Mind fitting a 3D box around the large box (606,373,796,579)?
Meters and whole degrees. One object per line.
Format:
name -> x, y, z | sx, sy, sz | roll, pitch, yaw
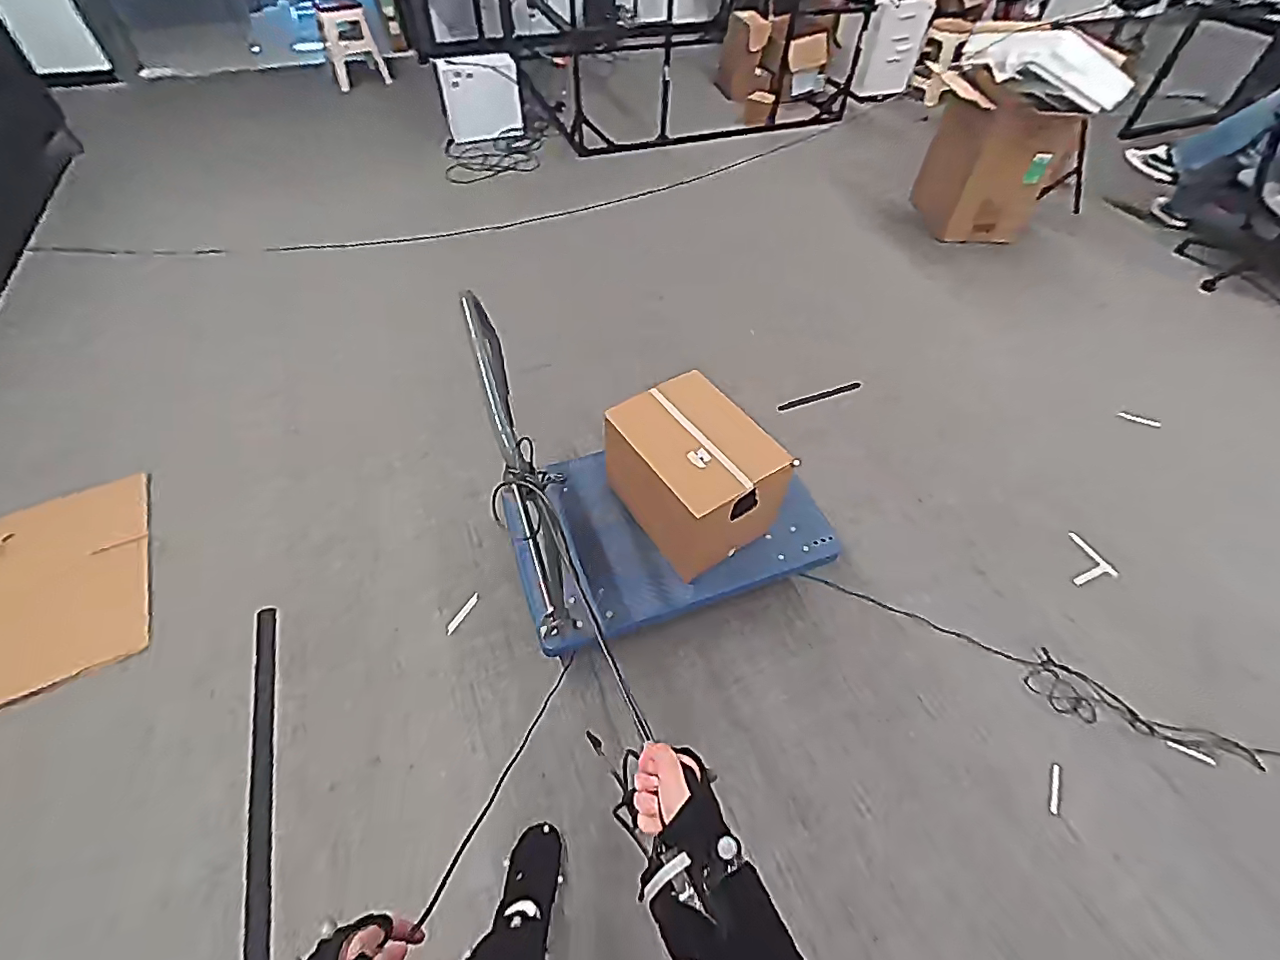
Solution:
large box -> 0.140, -0.016, 1.476 | 0.320, 0.320, 0.408 | -28, 59, -21
